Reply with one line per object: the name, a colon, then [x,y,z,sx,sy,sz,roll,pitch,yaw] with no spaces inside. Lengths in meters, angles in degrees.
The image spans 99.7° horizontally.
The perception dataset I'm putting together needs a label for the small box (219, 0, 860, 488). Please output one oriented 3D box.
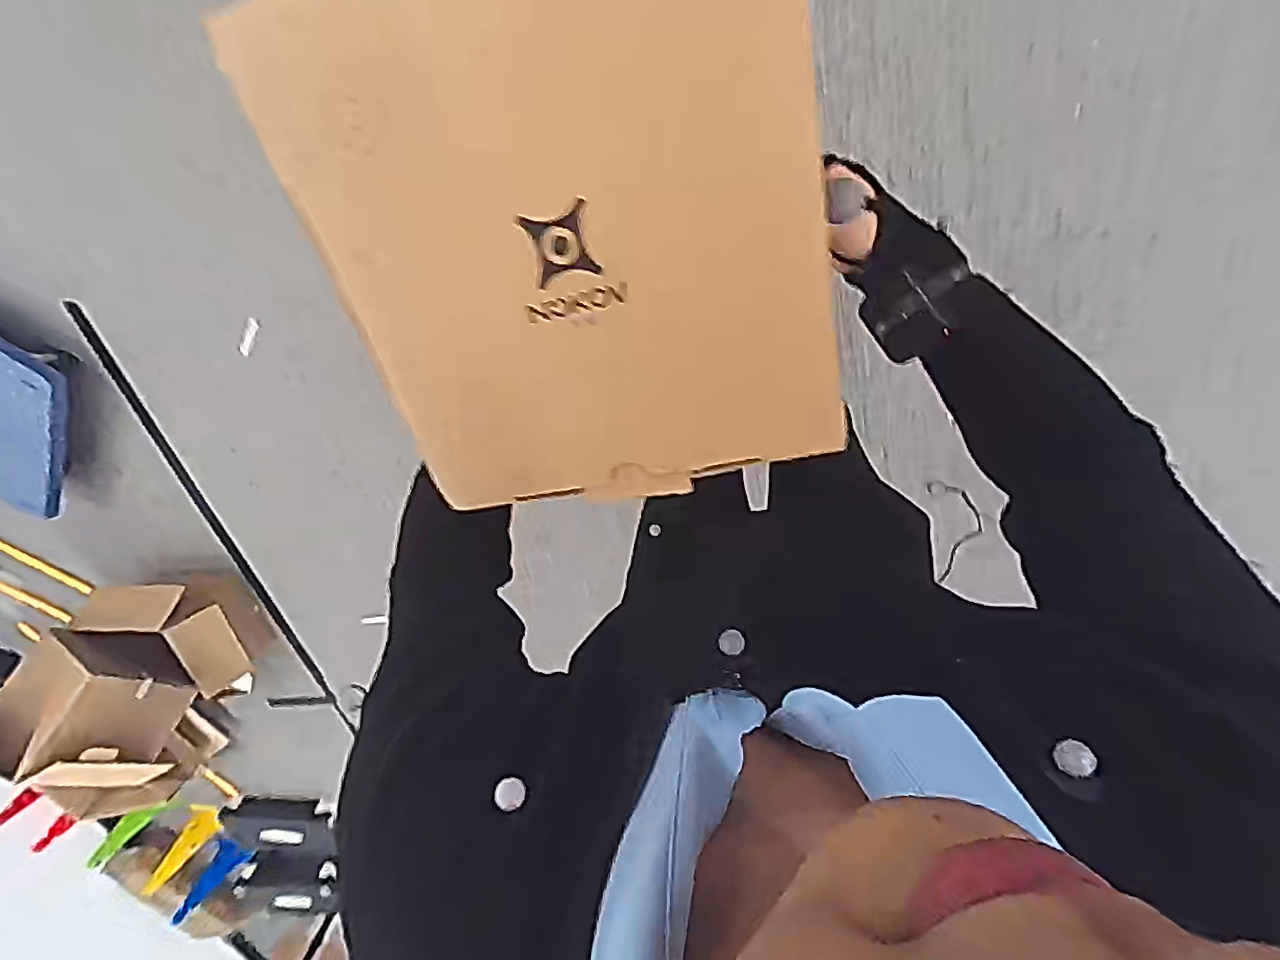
small box: [-0.011,-0.123,0.240,0.168,0.176,0.179,-10,120,14]
